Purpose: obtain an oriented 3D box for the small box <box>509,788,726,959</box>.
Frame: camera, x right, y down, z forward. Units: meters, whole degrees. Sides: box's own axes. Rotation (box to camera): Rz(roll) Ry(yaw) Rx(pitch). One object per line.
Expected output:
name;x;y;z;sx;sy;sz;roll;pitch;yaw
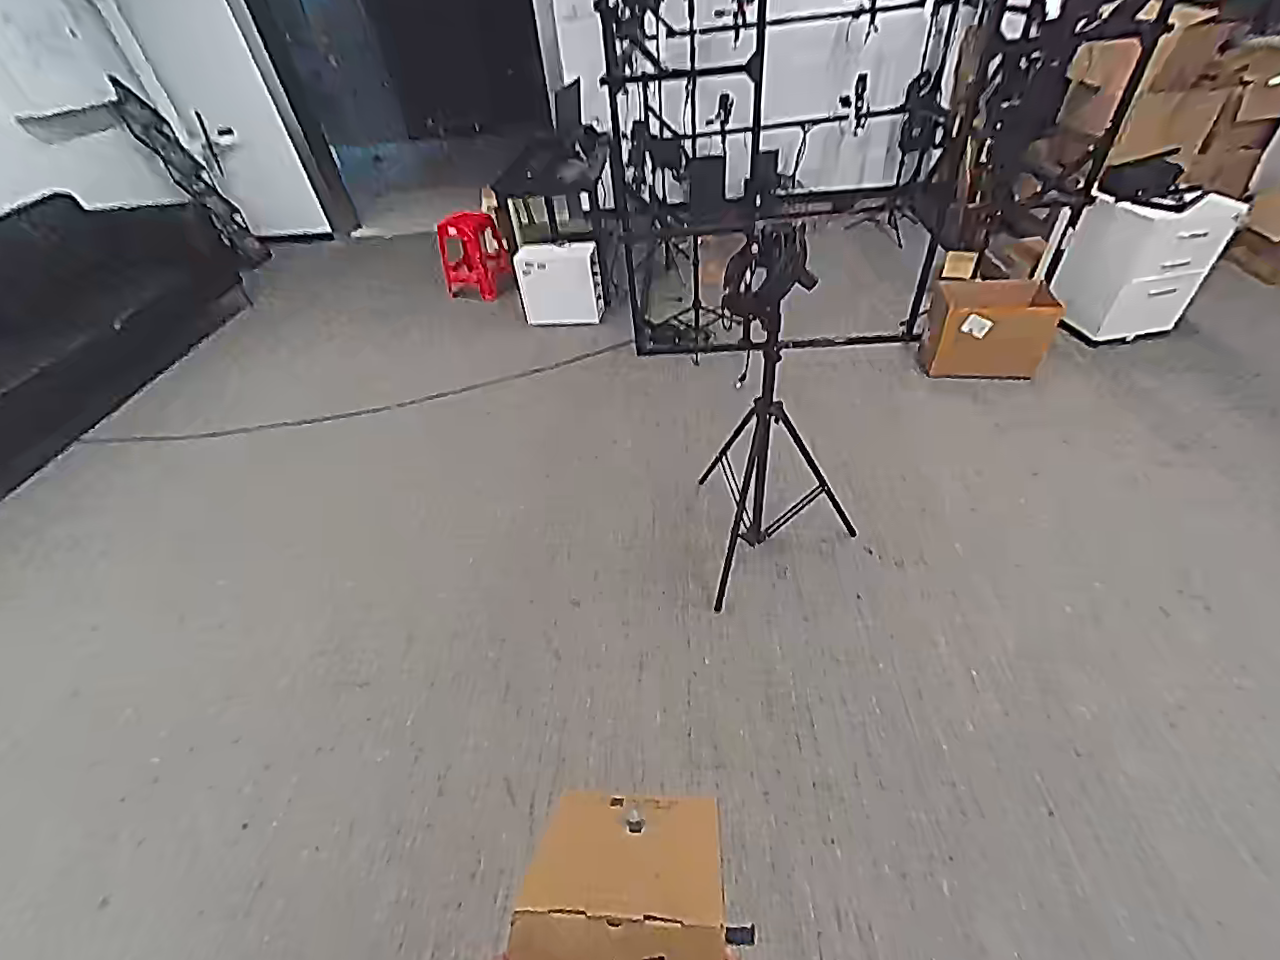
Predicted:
small box;-0.009;0.411;0.479;0.168;0.179;0.176;0;-2;6
